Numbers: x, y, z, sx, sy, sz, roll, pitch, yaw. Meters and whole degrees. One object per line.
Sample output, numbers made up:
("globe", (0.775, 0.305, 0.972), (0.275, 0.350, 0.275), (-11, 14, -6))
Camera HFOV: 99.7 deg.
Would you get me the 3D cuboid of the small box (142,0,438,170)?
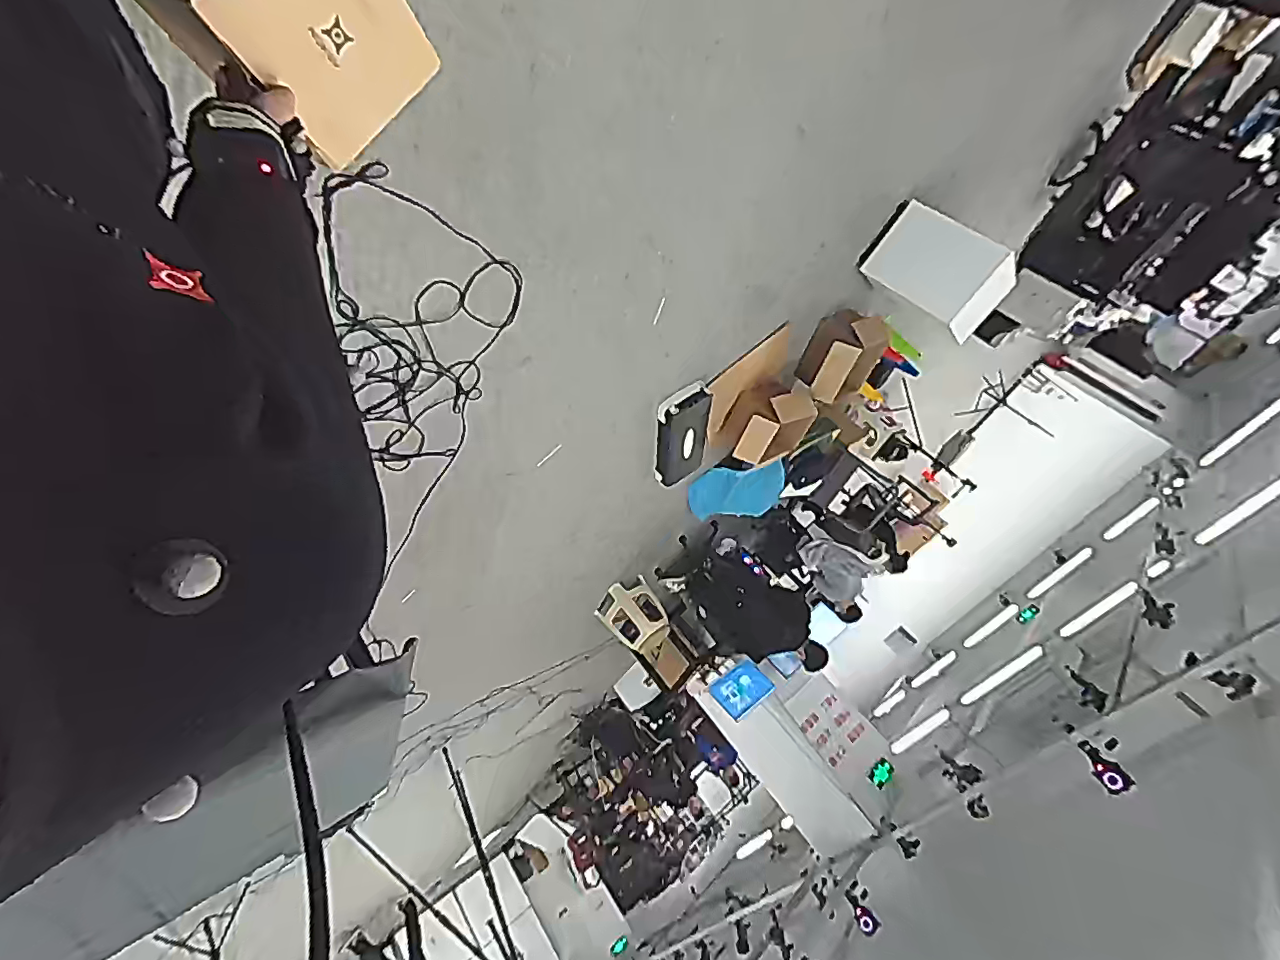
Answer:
("small box", (-0.354, -0.462, 0.545), (0.179, 0.176, 0.168), (-53, 157, -9))
